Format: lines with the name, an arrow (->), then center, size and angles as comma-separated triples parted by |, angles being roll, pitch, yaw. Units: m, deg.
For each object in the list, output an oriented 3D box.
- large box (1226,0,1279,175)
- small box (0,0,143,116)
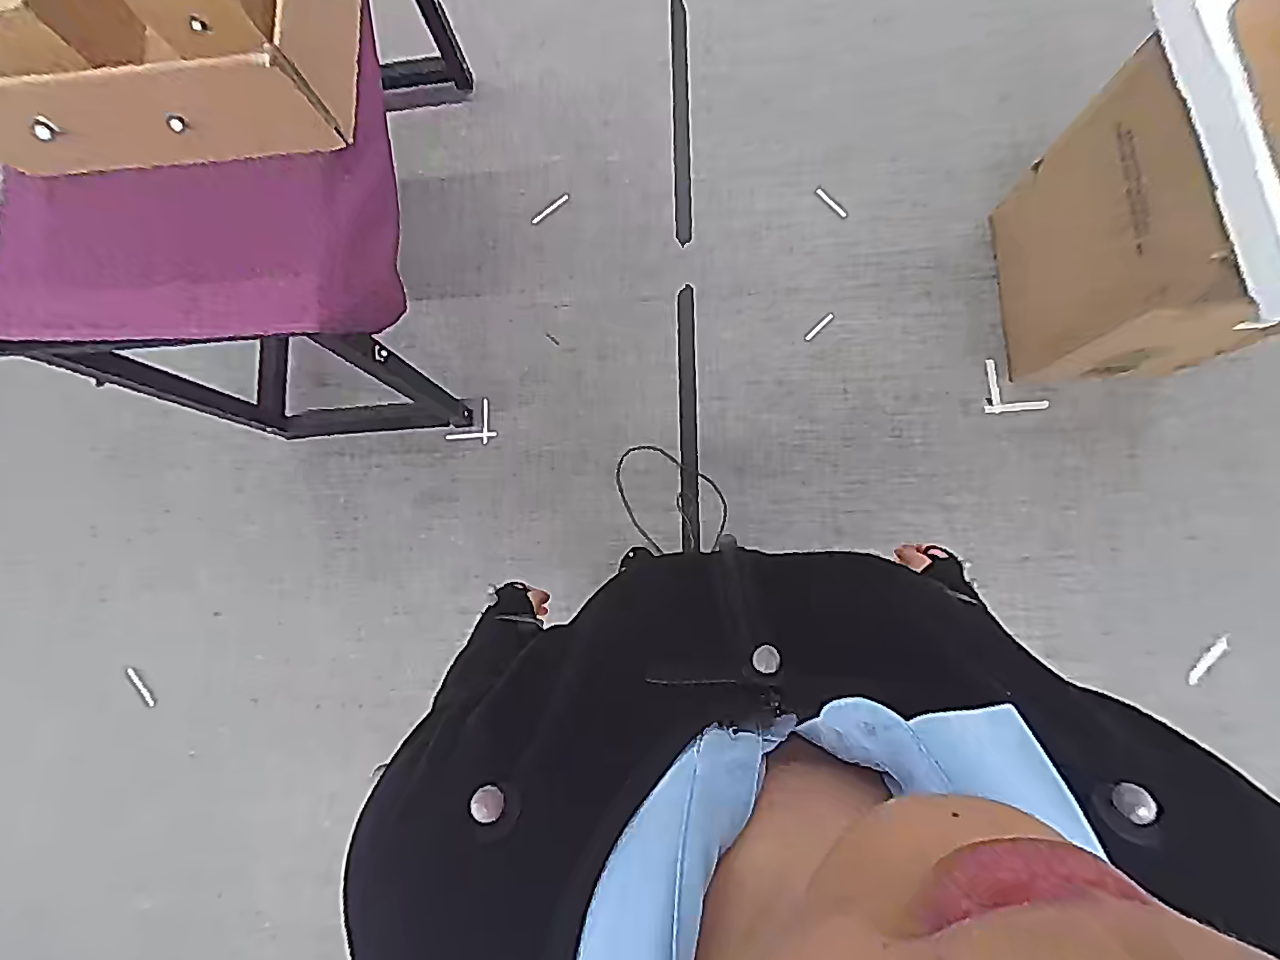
large box -> 1.172, -0.660, 0.750 | 0.320, 0.320, 0.408 | -7, 80, 2
small box -> -0.929, -0.714, 0.842 | 0.168, 0.176, 0.179 | -6, 81, 2
